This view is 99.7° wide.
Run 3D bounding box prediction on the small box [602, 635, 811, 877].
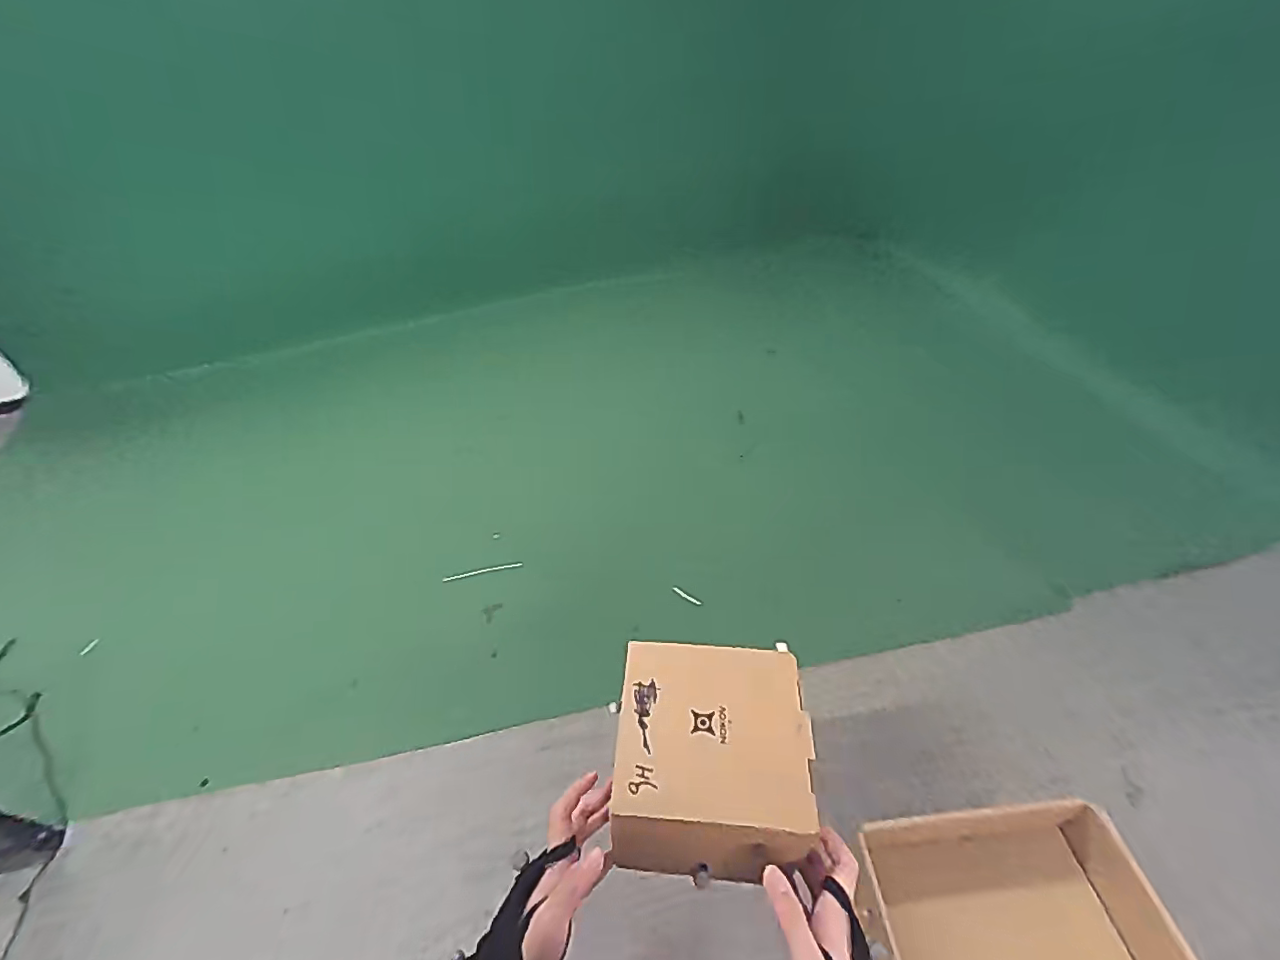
[{"bbox_3d":[0.060,0.284,0.556,0.179,0.176,0.168,4,41,3],"label":"small box"}]
